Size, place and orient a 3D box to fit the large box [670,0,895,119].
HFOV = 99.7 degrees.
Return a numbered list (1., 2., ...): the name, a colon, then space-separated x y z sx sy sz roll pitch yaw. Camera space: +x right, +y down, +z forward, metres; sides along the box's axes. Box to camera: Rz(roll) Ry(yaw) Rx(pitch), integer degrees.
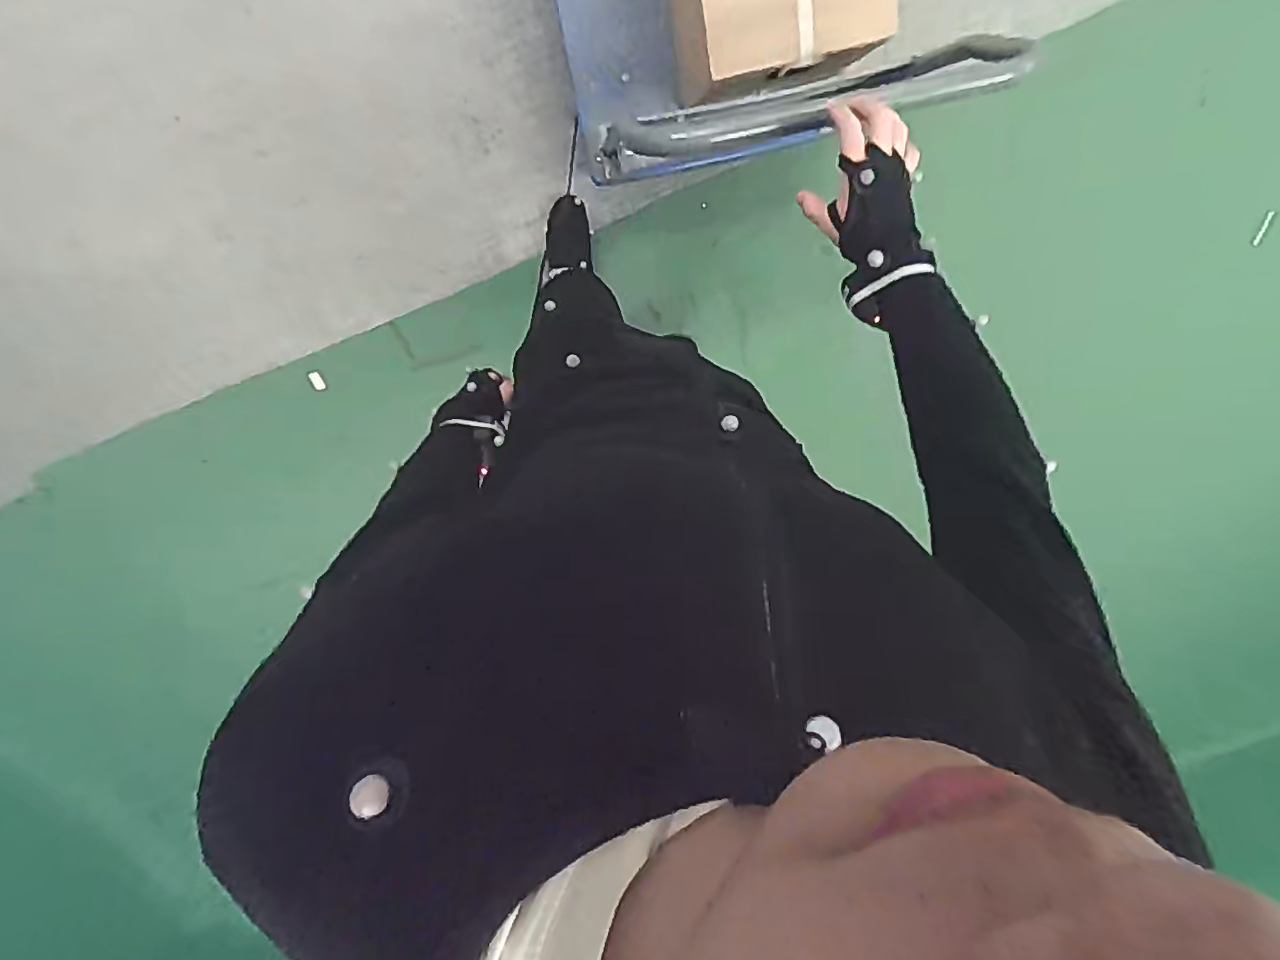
1. large box: 0.215 -0.922 0.940 0.320 0.320 0.408 -13 115 1
